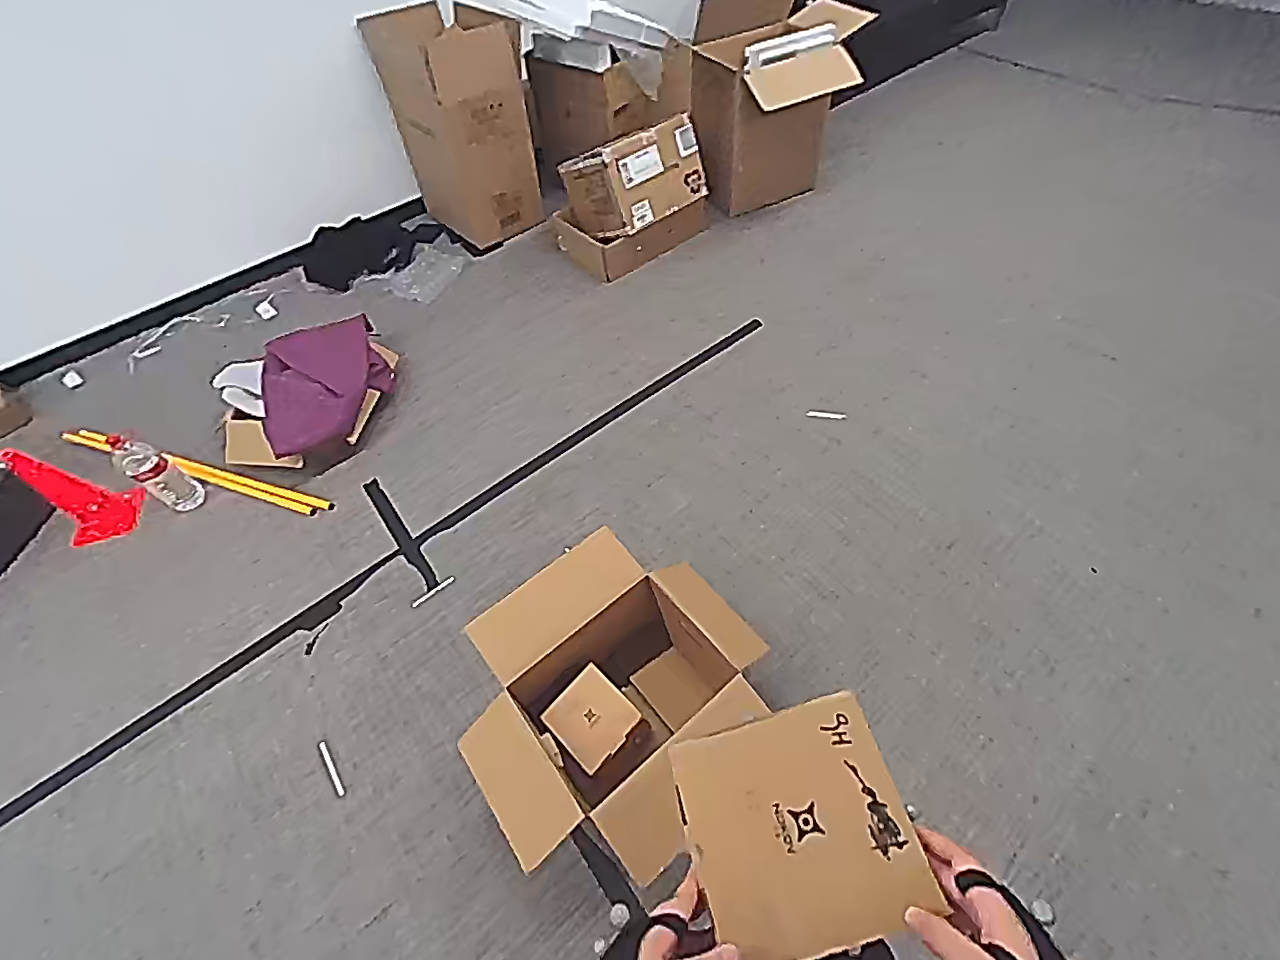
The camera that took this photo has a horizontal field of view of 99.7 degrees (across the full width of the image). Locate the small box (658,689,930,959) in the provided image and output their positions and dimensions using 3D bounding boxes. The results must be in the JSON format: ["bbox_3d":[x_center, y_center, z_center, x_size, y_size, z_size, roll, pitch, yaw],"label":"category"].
[{"bbox_3d":[0.131,0.318,0.515,0.179,0.176,0.168,-18,60,0],"label":"small box"}]
